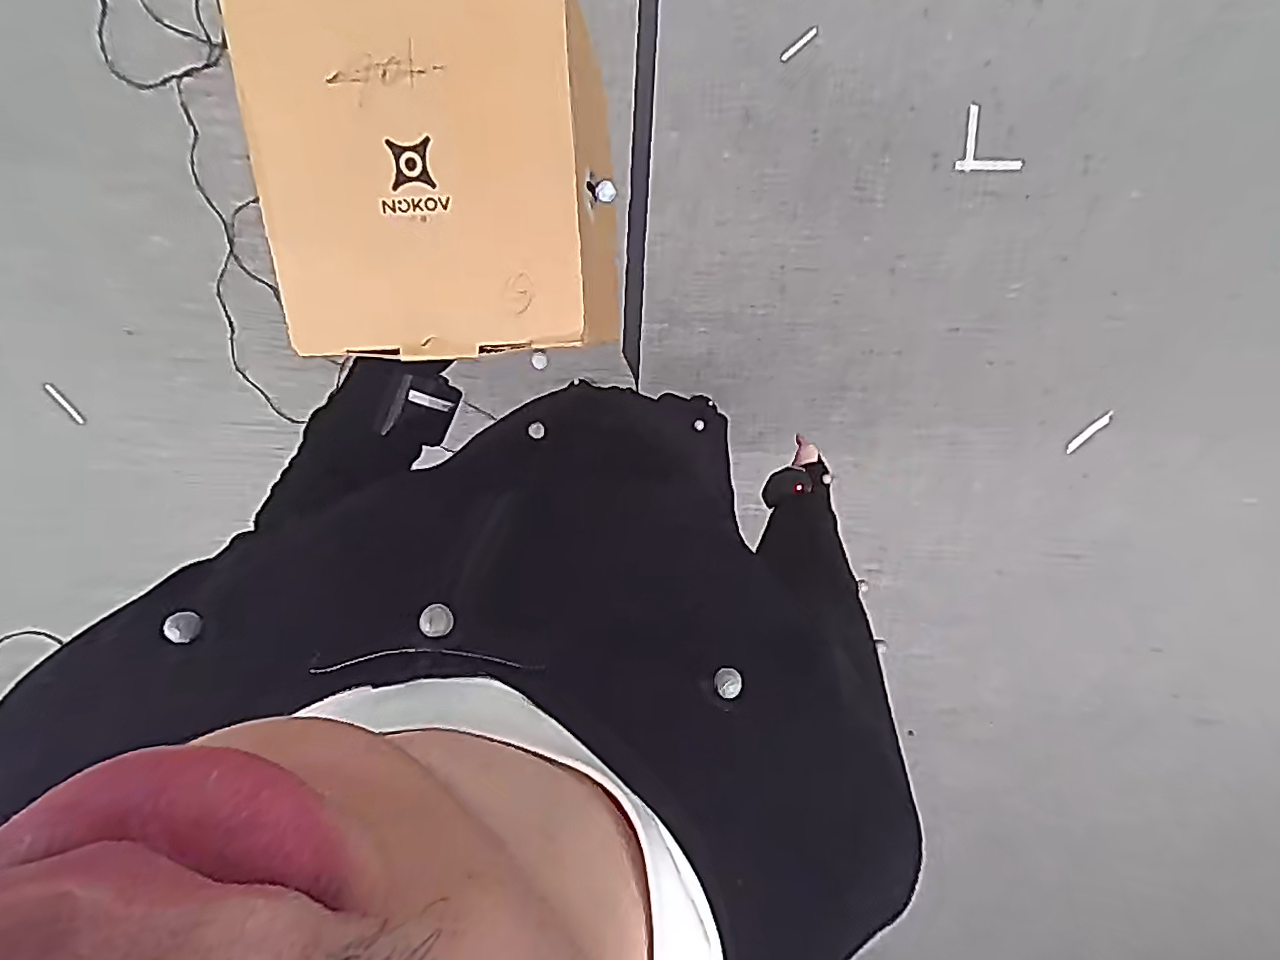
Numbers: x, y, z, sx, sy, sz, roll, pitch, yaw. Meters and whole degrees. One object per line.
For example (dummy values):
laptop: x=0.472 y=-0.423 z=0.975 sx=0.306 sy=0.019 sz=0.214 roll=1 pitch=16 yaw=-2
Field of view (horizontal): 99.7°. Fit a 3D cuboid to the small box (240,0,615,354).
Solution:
small box: x=-0.108 y=-0.179 z=0.359 sx=0.168 sy=0.176 sz=0.179 roll=-1 pitch=105 yaw=3
